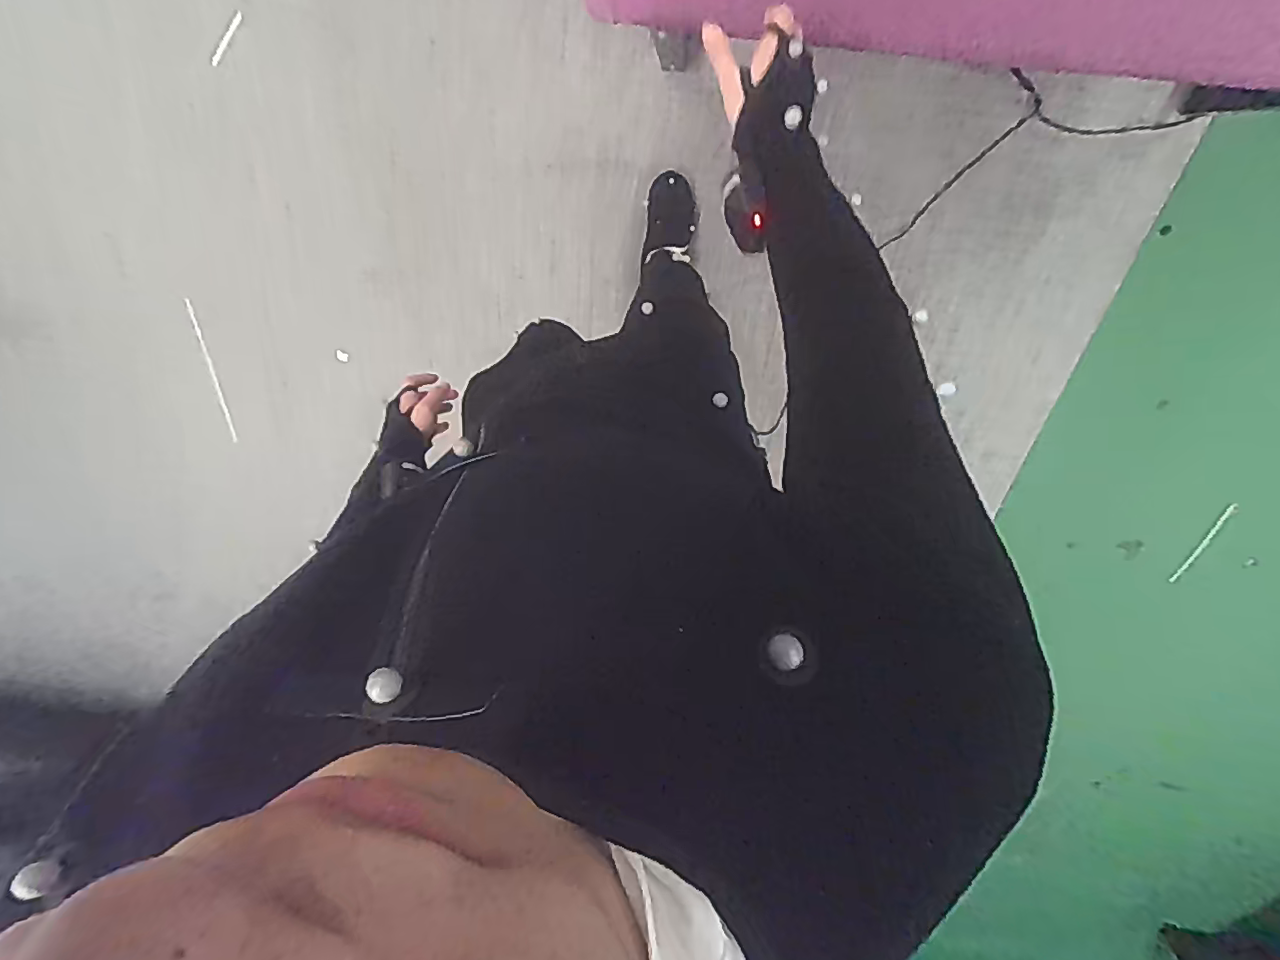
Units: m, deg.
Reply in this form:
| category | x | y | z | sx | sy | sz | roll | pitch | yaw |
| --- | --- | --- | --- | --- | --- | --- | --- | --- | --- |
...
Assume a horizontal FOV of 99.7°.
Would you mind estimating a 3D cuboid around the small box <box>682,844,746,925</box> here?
| category | x | y | z | sx | sy | sz | roll | pitch | yaw |
| --- | --- | --- | --- | --- | --- | --- | --- | --- | --- |
| small box | 0.234 | 1.314 | 1.738 | 0.168 | 0.176 | 0.179 | 11 | 121 | -1 |

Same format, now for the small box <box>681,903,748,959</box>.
| category | x | y | z | sx | sy | sz | roll | pitch | yaw |
| --- | --- | --- | --- | --- | --- | --- | --- | --- | --- |
| small box | 0.219 | 1.396 | 1.599 | 0.168 | 0.176 | 0.179 | 12 | 121 | -2 |

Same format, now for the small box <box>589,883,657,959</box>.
| category | x | y | z | sx | sy | sz | roll | pitch | yaw |
| --- | --- | --- | --- | --- | --- | --- | --- | --- | --- |
| small box | -0.047 | 1.328 | 1.587 | 0.168 | 0.176 | 0.179 | 13 | 121 | -2 |

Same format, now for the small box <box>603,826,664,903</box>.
| category | x | y | z | sx | sy | sz | roll | pitch | yaw |
| --- | --- | --- | --- | --- | --- | --- | --- | --- | --- |
| small box | -0.021 | 1.243 | 1.725 | 0.168 | 0.176 | 0.179 | 13 | 121 | -2 |
